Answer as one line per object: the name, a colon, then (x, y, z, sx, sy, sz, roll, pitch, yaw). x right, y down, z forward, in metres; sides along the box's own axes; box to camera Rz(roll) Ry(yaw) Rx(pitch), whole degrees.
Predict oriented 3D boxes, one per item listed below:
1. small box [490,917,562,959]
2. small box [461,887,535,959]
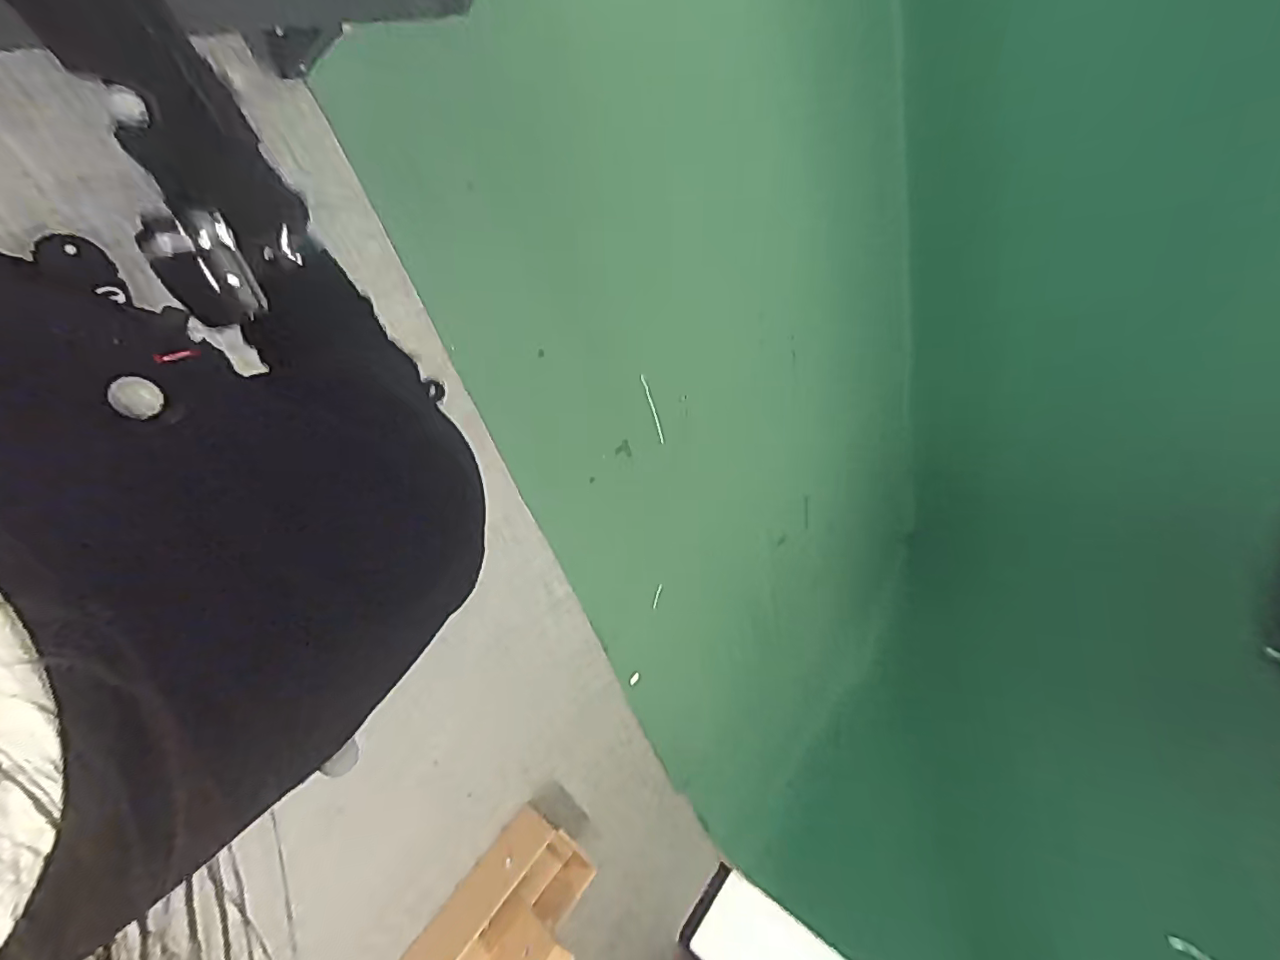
small box: (-0.375, 1.607, 1.779, 0.179, 0.176, 0.168, -46, 130, -30)
small box: (-0.492, 1.576, 1.890, 0.168, 0.176, 0.179, -43, 130, -30)
